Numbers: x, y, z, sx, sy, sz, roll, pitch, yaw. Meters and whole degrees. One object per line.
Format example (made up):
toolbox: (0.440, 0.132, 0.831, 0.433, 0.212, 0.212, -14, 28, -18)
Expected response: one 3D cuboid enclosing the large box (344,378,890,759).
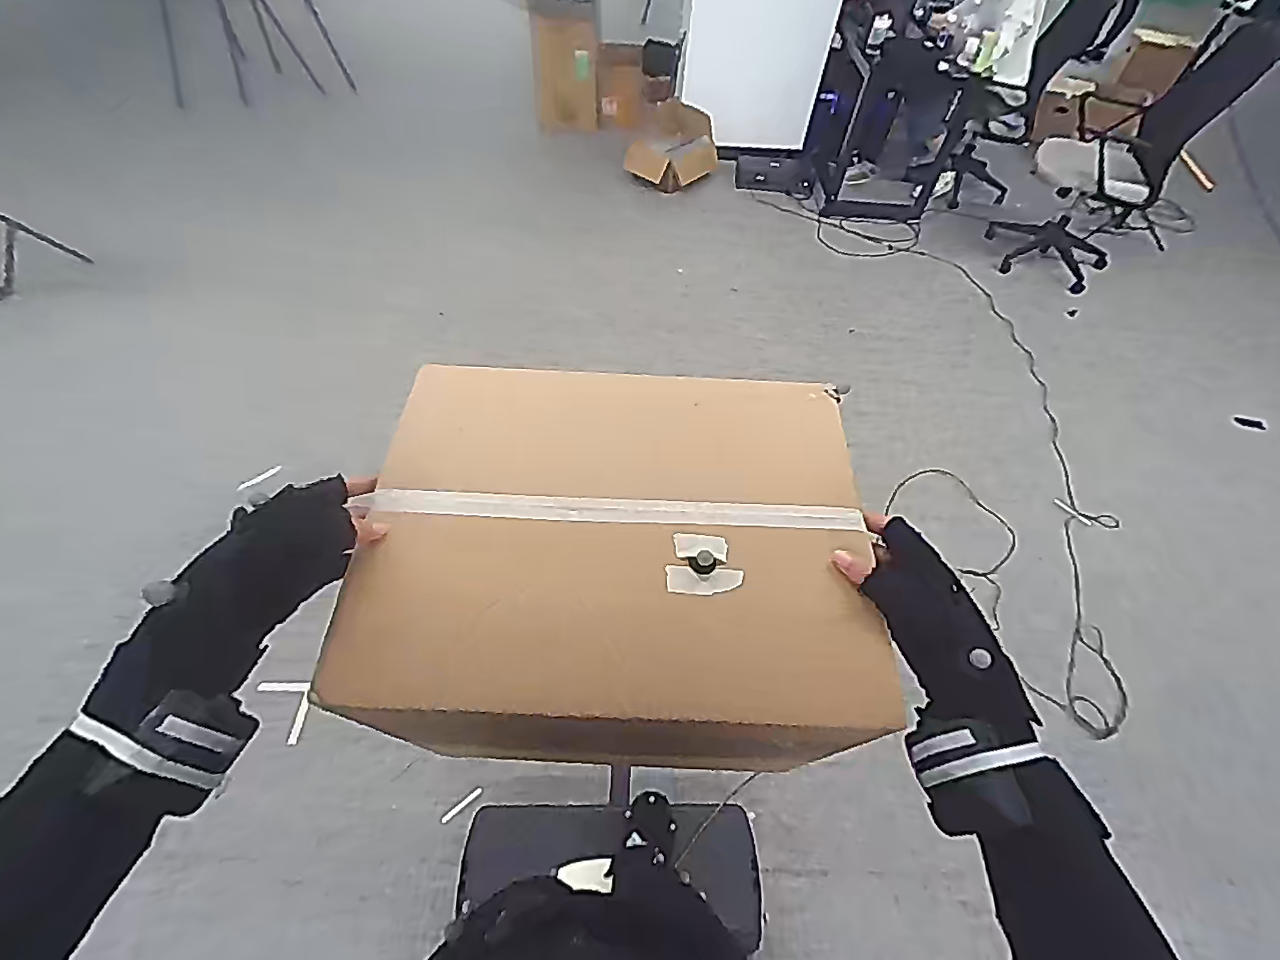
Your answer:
large box: (-0.018, 0.113, 0.592, 0.408, 0.320, 0.320, 3, 58, -1)
